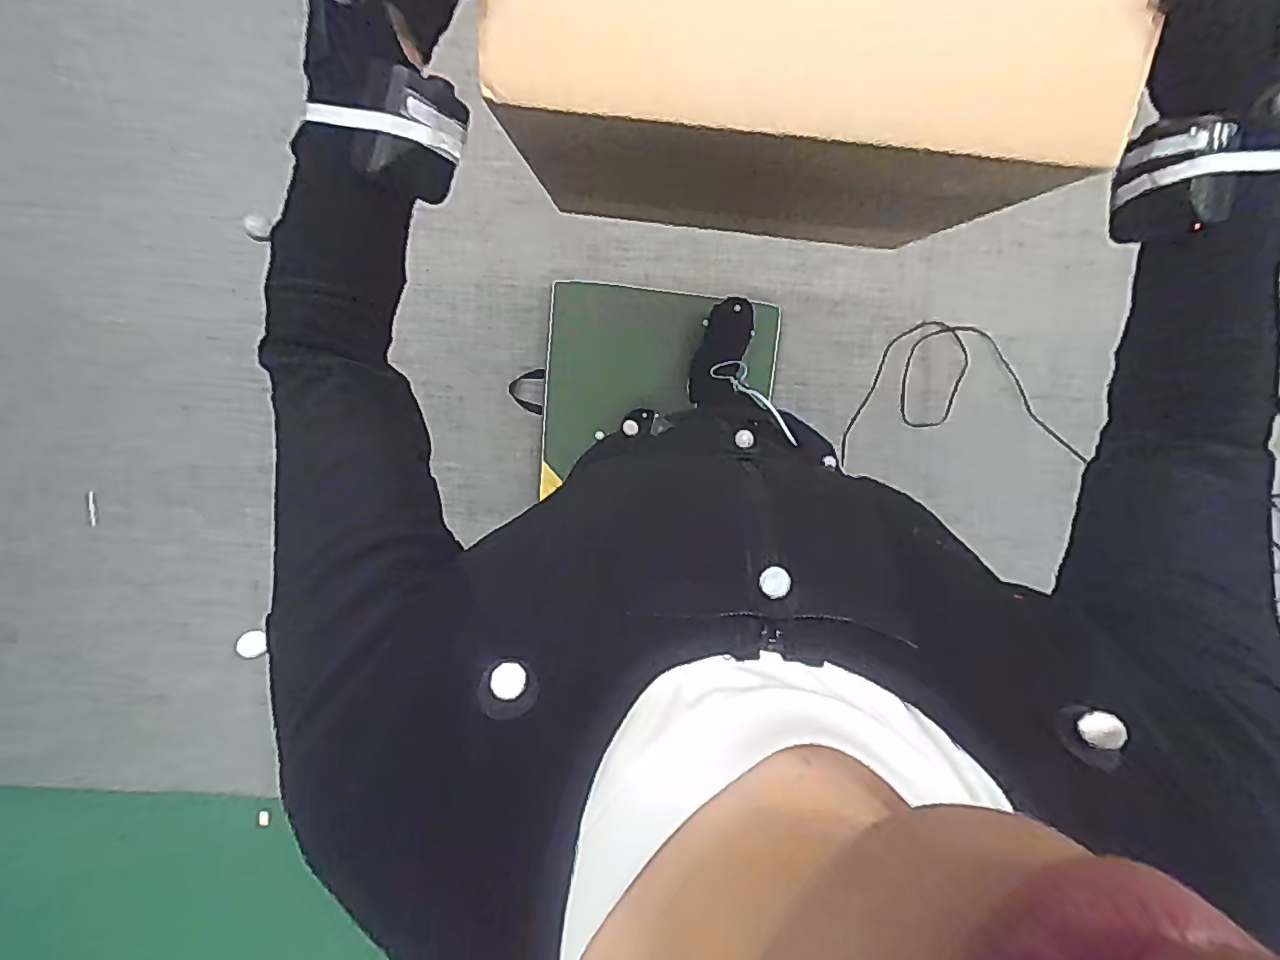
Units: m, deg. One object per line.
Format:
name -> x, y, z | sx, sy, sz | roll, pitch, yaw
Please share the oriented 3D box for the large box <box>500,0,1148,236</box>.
large box -> 0.117, -0.412, 0.454 | 0.408, 0.320, 0.320 | 5, 105, -2
